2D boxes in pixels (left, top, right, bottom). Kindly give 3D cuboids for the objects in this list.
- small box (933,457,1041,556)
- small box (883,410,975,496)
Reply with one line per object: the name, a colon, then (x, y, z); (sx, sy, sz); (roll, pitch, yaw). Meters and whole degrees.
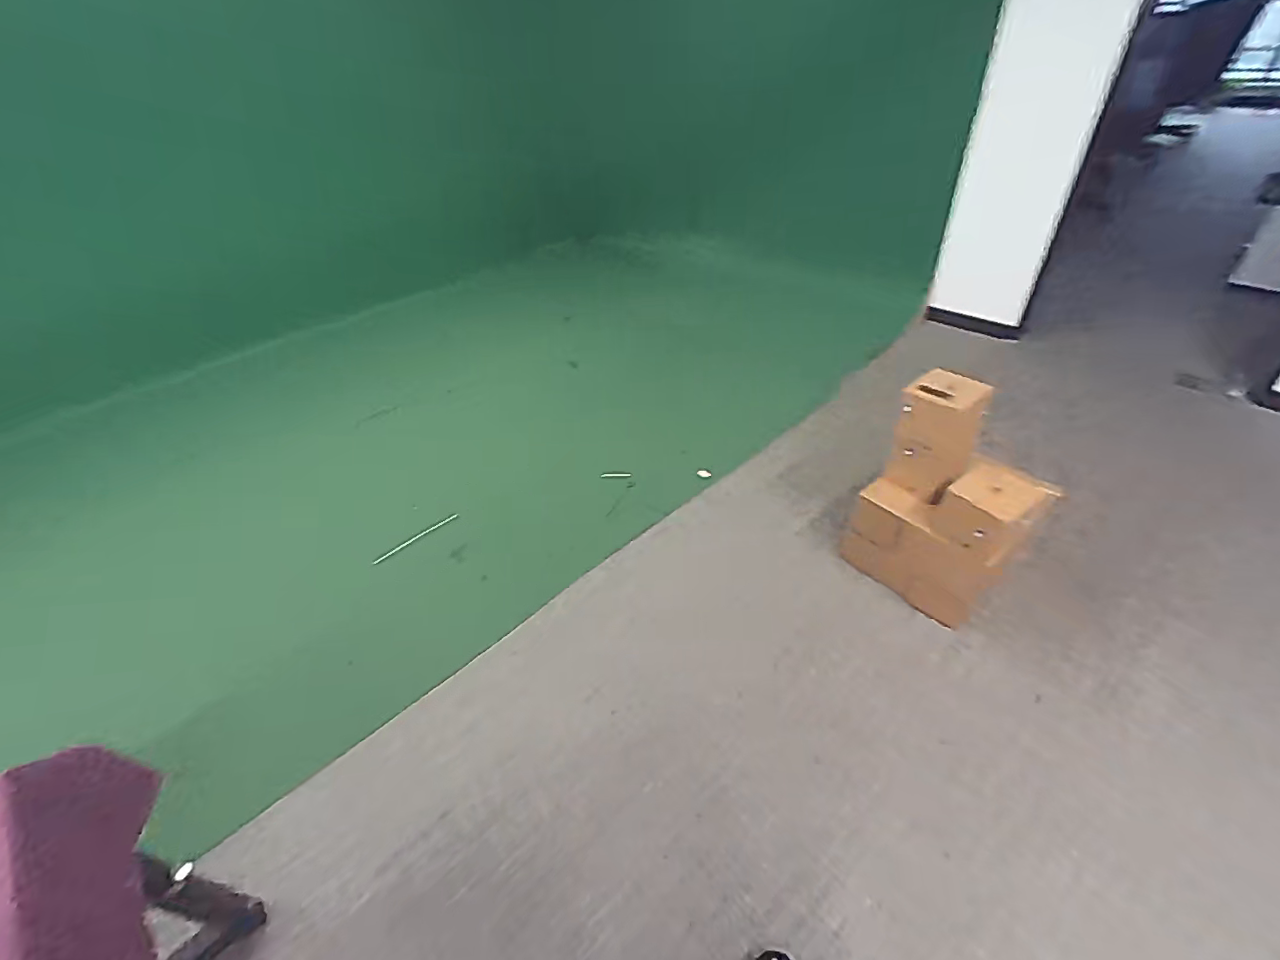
small box: (0.927, 0.073, 1.463); (0.179, 0.176, 0.168); (-27, 46, -23)
small box: (0.870, -0.081, 1.649); (0.179, 0.176, 0.168); (-27, 44, -24)
